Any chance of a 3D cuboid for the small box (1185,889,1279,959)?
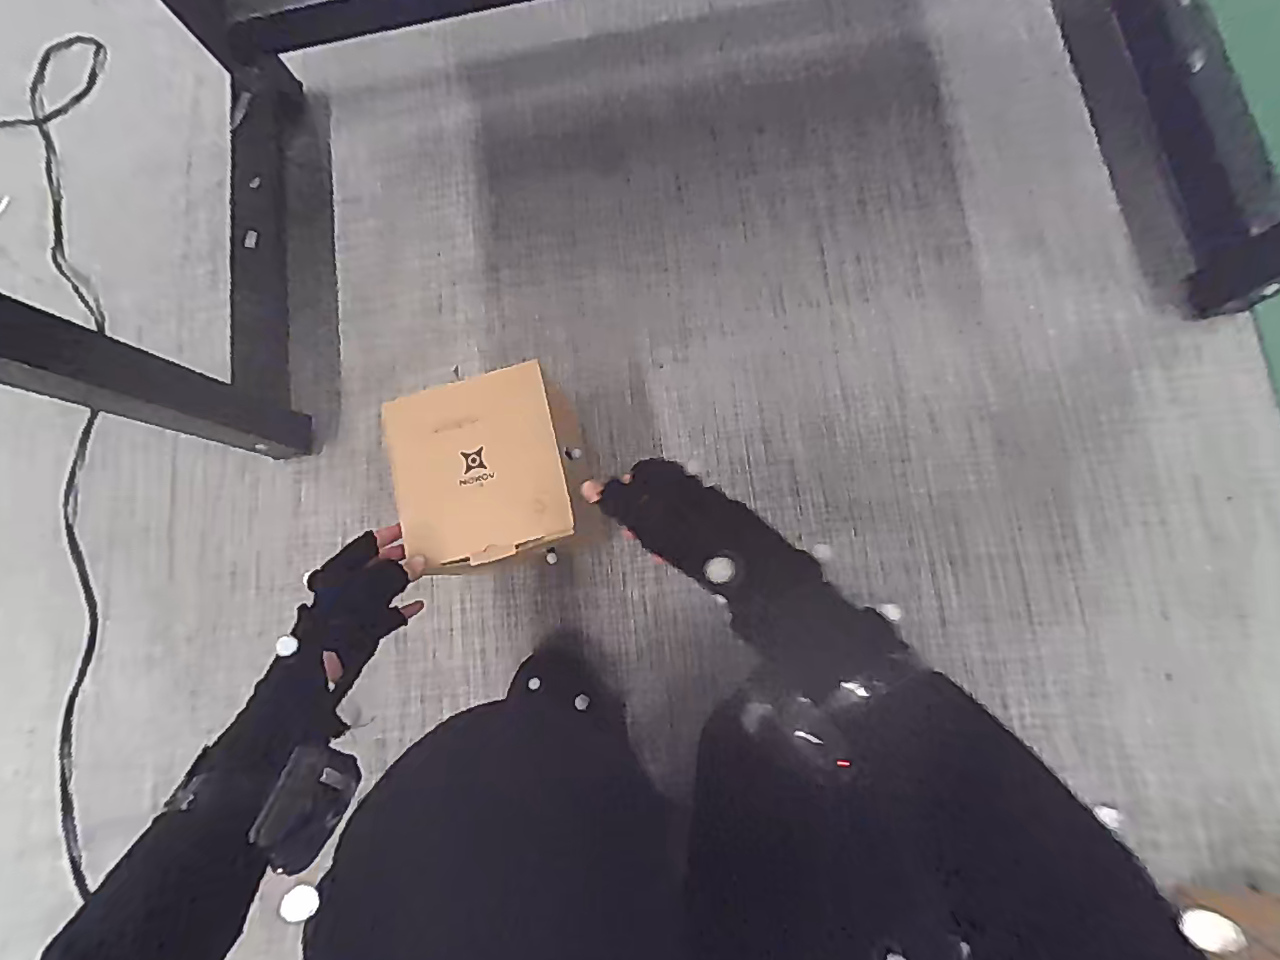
[{"bbox_3d":[0.598,0.464,0.433,0.179,0.176,0.168,-3,80,7],"label":"small box"}]
